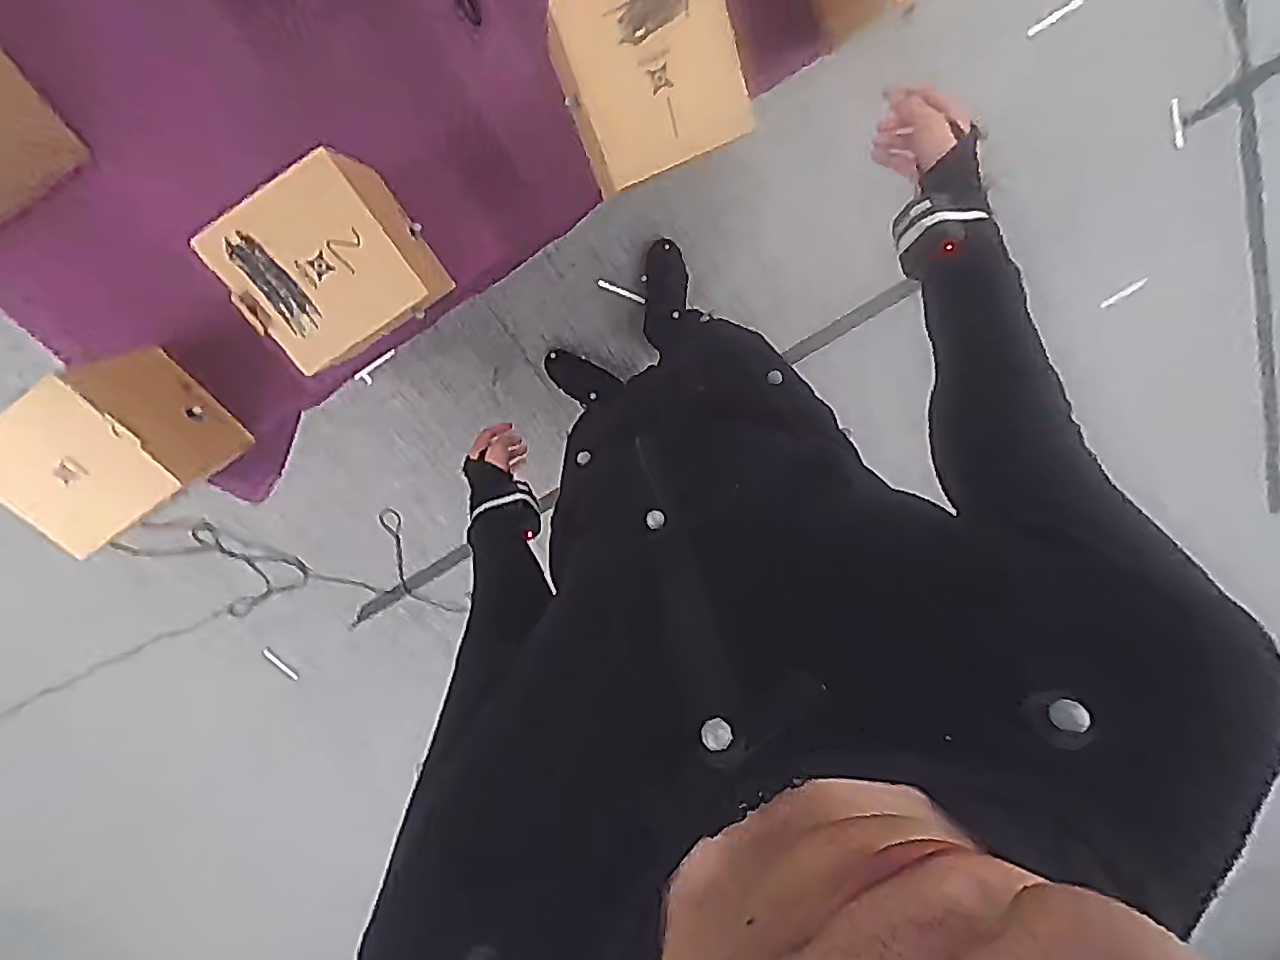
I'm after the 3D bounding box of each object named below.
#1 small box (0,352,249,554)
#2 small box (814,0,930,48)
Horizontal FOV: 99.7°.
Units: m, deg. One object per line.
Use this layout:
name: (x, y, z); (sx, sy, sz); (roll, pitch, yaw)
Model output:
small box: (-0.667, -0.043, 0.700); (0.179, 0.176, 0.168); (-34, 113, 6)
small box: (0.284, -0.622, 0.580); (0.168, 0.176, 0.179); (-26, 113, 5)
